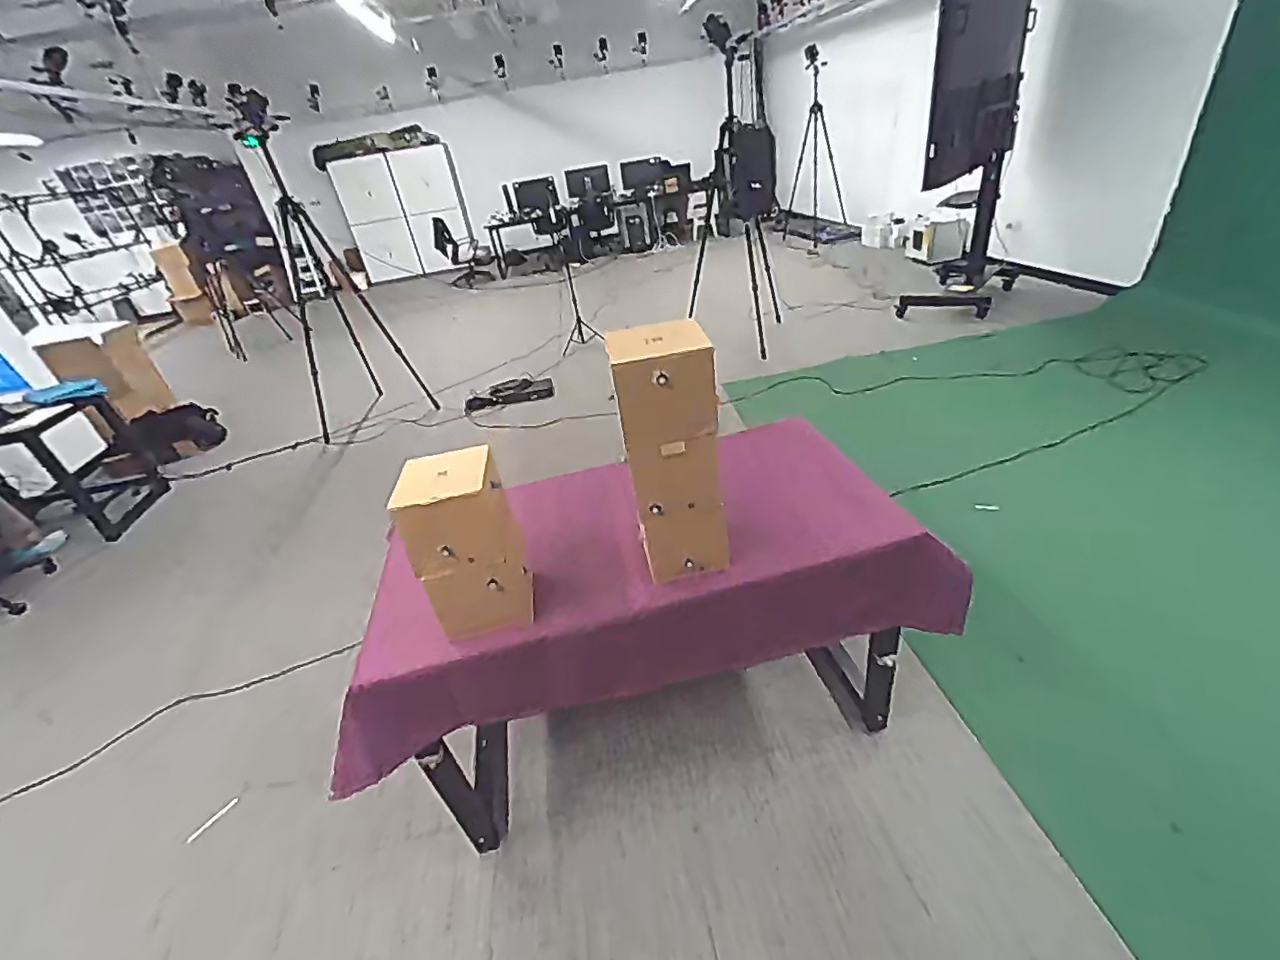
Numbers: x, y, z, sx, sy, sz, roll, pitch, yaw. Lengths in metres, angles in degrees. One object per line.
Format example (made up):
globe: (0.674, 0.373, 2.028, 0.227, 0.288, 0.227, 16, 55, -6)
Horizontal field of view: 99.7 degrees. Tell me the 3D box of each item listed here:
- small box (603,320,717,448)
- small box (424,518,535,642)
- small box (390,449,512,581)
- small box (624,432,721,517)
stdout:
small box: (0.035, -0.174, 0.989, 0.179, 0.176, 0.168, -11, 34, 0)
small box: (-0.320, 0.206, 1.122, 0.179, 0.176, 0.168, -13, 31, -3)
small box: (-0.351, 0.066, 1.043, 0.168, 0.176, 0.179, -12, 33, -3)
small box: (0.059, -0.041, 1.082, 0.168, 0.176, 0.179, -12, 31, -1)
